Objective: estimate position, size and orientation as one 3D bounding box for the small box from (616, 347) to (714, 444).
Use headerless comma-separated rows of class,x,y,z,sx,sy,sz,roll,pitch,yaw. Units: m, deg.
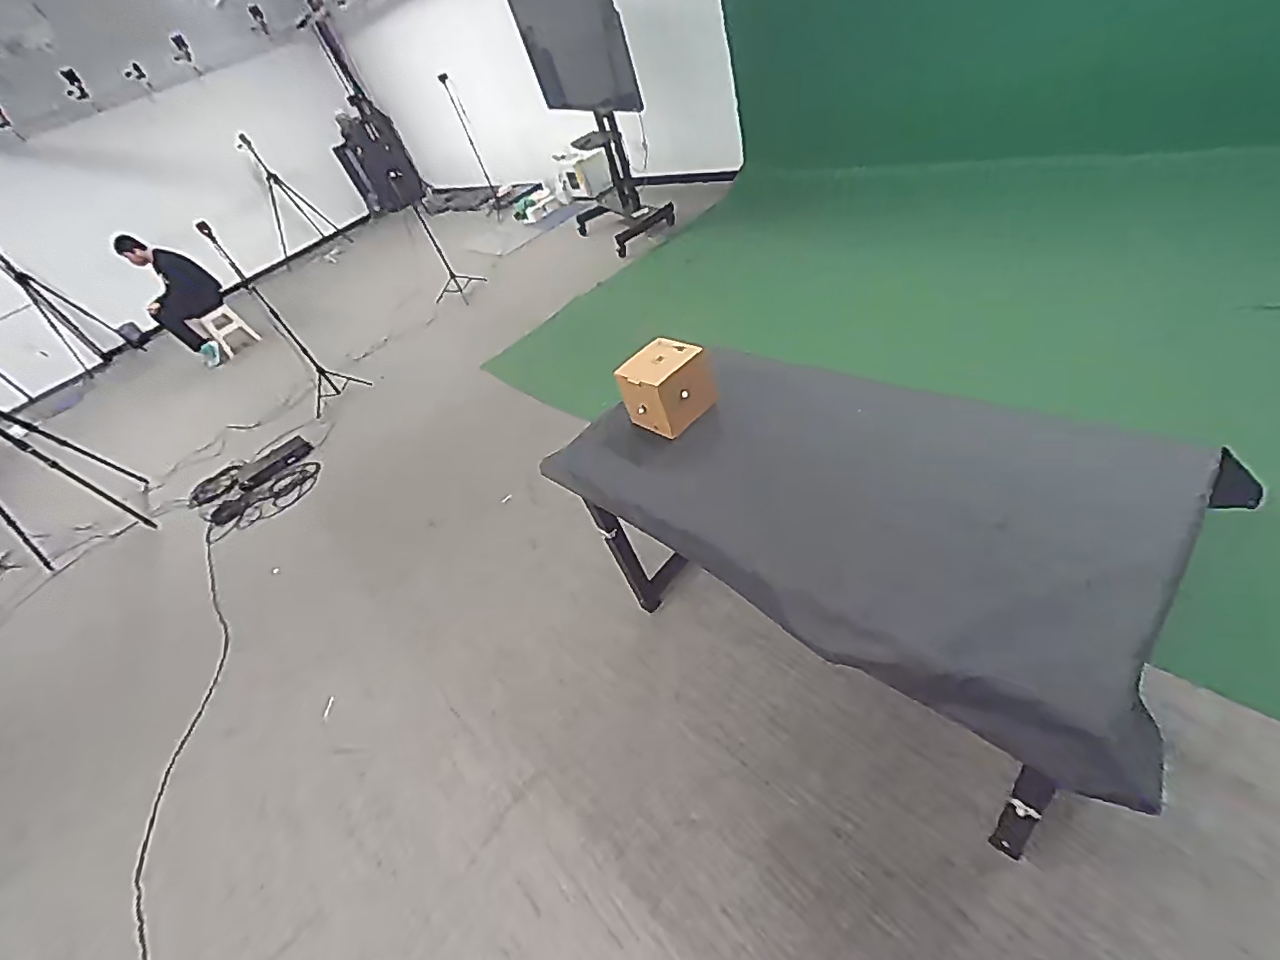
small box,0.072,-0.221,1.421,0.179,0.176,0.168,-42,45,-21
